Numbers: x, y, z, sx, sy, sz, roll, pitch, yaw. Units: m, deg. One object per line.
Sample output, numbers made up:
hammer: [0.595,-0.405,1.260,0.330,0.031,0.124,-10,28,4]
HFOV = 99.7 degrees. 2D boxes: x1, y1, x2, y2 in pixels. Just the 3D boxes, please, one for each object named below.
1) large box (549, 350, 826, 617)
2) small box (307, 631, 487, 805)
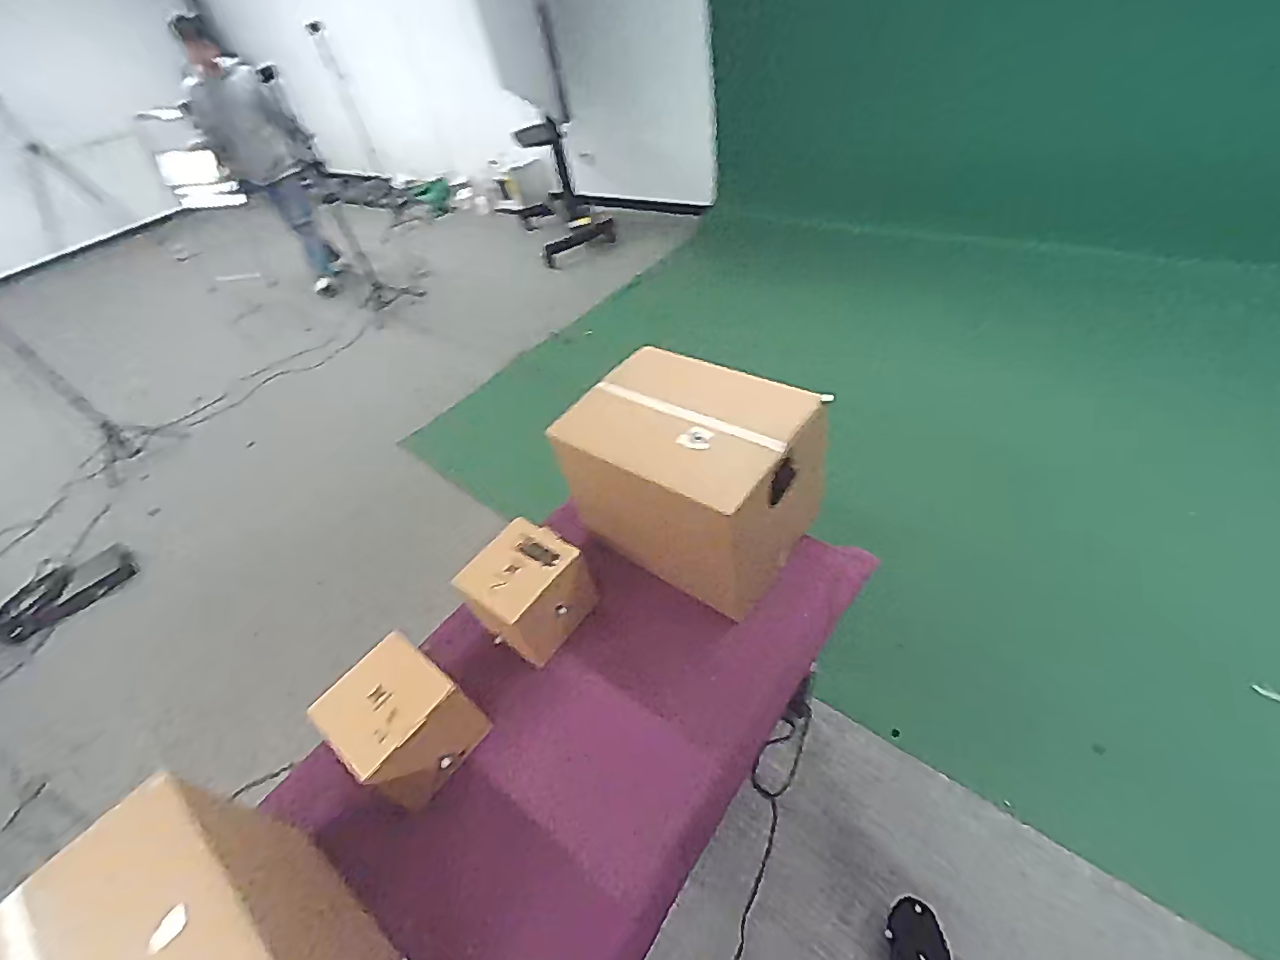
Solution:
large box: [0.098,-0.007,1.061,0.408,0.320,0.320,25,57,32]
small box: [-0.383,0.387,0.875,0.179,0.176,0.168,25,57,32]
